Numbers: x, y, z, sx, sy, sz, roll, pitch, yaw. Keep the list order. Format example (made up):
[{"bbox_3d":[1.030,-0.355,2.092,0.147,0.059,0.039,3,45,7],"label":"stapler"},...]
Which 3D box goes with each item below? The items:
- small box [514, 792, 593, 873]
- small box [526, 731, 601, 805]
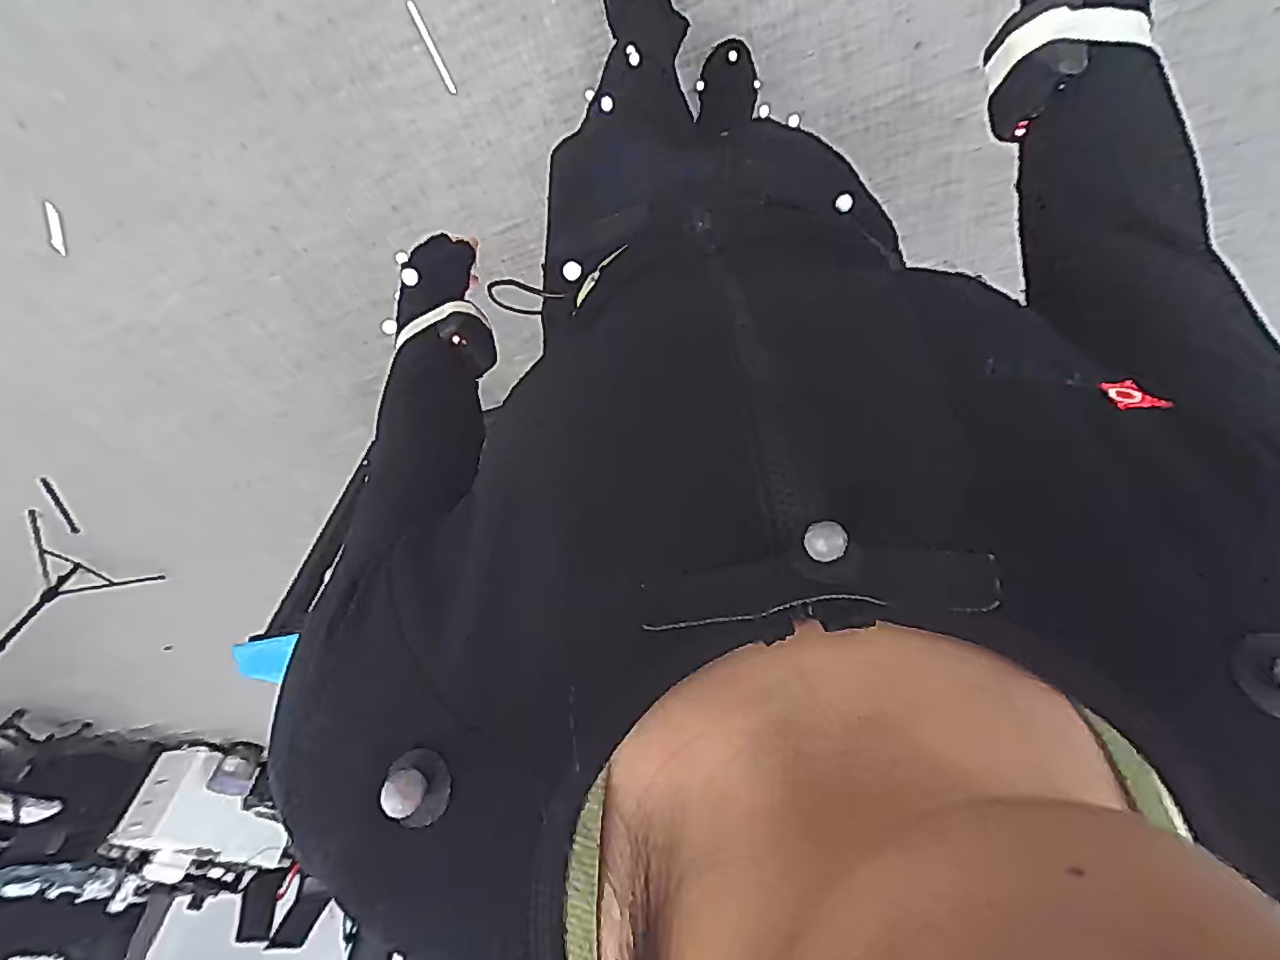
[{"bbox_3d":[-0.244,1.021,1.559,0.179,0.176,0.168,-9,134,8],"label":"small box"},{"bbox_3d":[-0.232,0.897,1.667,0.179,0.176,0.168,-11,133,12],"label":"small box"}]
